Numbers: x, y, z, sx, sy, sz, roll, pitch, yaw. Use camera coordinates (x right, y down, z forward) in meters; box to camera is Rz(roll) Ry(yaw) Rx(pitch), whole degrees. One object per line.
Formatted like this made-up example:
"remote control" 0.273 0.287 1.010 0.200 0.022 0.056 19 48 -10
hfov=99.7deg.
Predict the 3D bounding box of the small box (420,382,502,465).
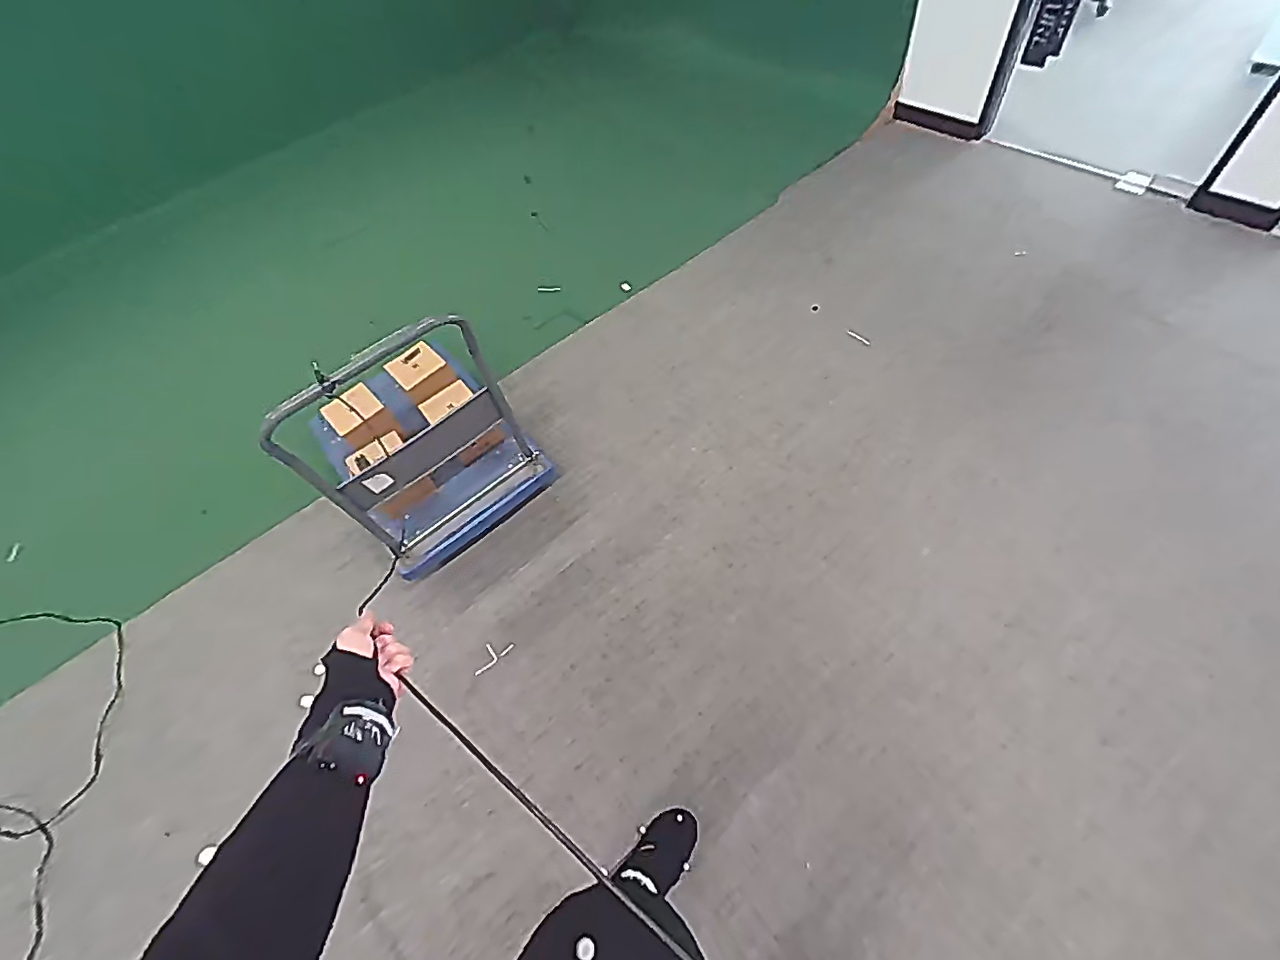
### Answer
"small box" -0.591 -0.184 1.795 0.168 0.176 0.179 -37 60 -14

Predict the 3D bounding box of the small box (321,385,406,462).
"small box" -0.941 -0.186 1.857 0.168 0.176 0.179 -41 60 -17

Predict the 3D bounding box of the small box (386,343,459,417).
"small box" -0.760 -0.347 1.929 0.168 0.176 0.179 -41 61 -16
